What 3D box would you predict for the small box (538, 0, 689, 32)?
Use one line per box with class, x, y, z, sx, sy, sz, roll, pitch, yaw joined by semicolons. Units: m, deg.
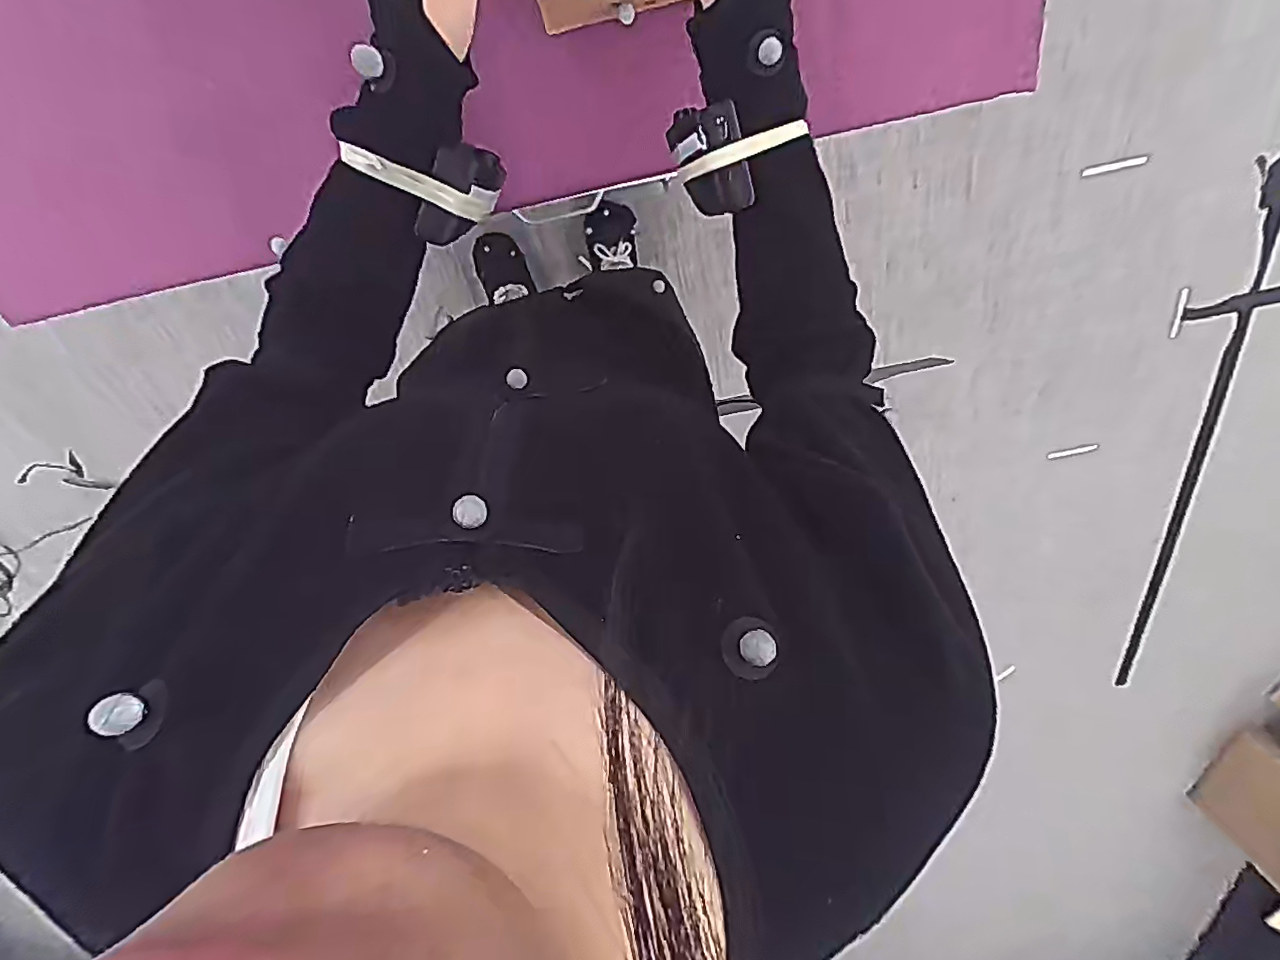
small box;-0.027;-0.502;0.430;0.168;0.176;0.179;-12;119;2
